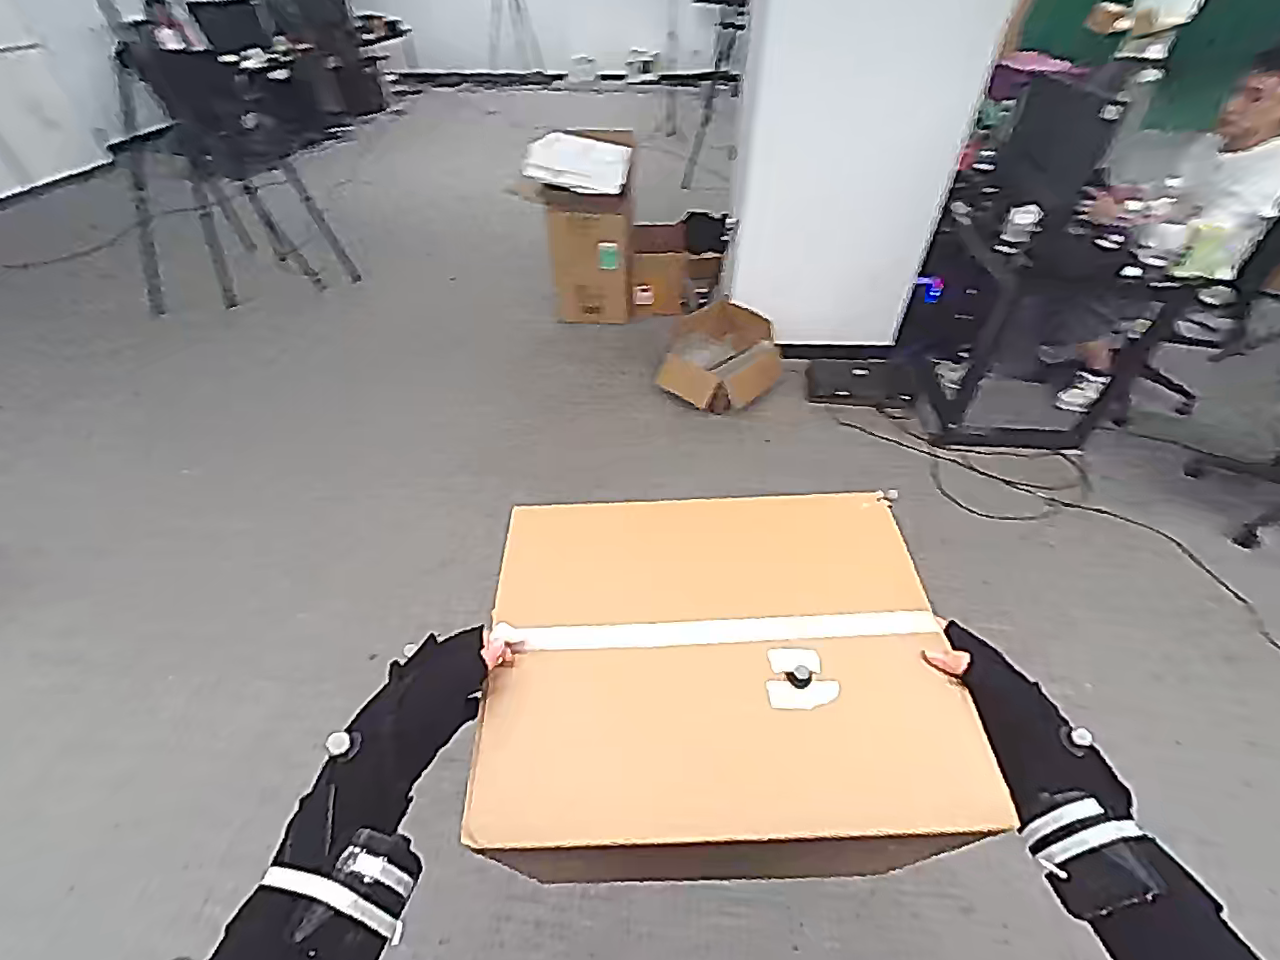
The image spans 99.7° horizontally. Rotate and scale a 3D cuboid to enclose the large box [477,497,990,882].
[{"bbox_3d":[0.068,0.243,0.618,0.408,0.320,0.320,-3,50,0],"label":"large box"}]
